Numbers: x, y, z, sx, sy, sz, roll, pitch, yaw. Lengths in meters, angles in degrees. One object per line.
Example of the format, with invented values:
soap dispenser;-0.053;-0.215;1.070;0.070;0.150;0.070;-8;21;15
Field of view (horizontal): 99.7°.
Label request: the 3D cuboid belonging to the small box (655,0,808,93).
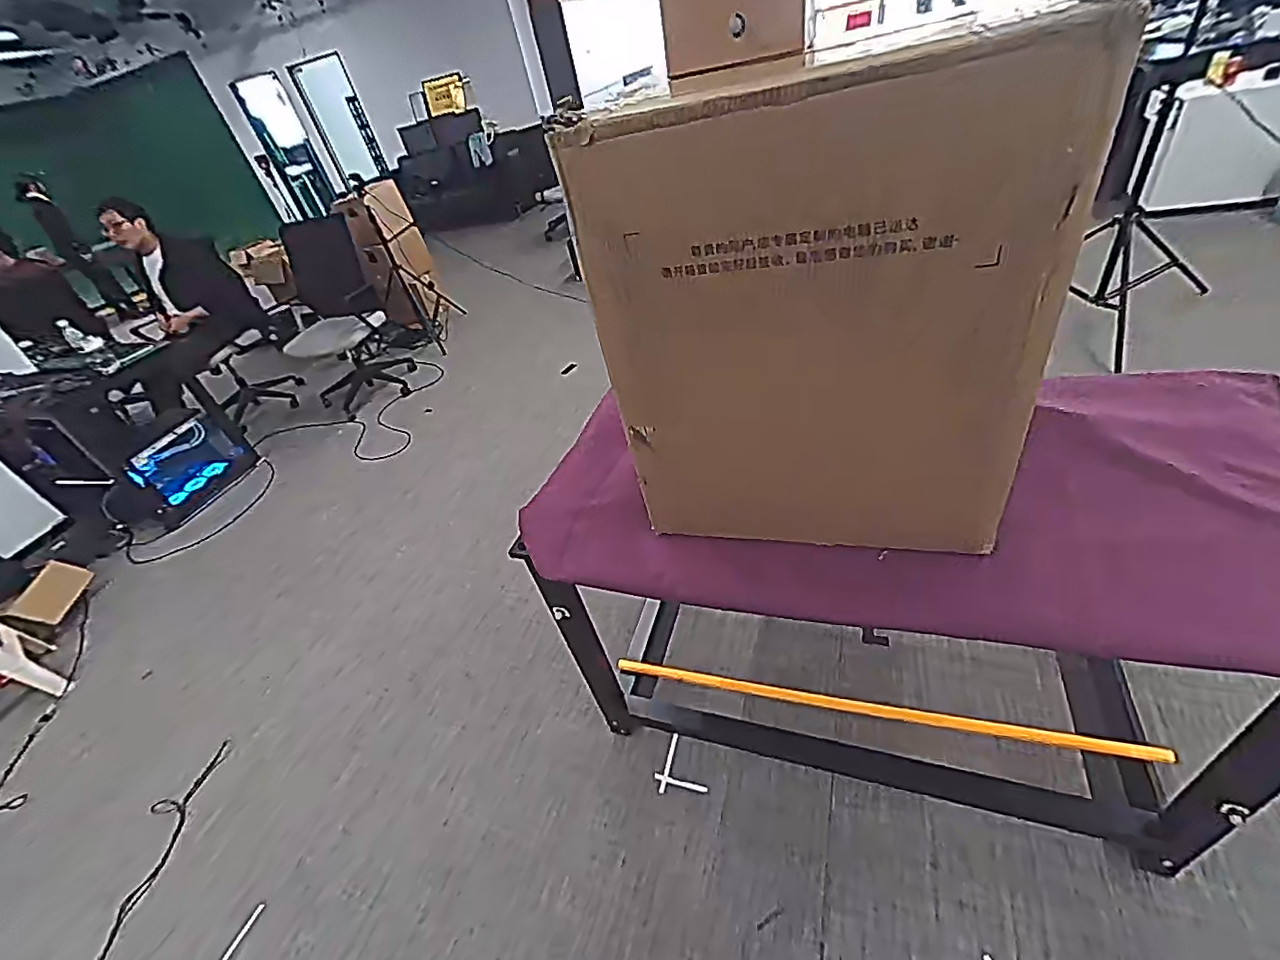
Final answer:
small box;0.119;-0.619;0.687;0.179;0.176;0.168;3;42;21
